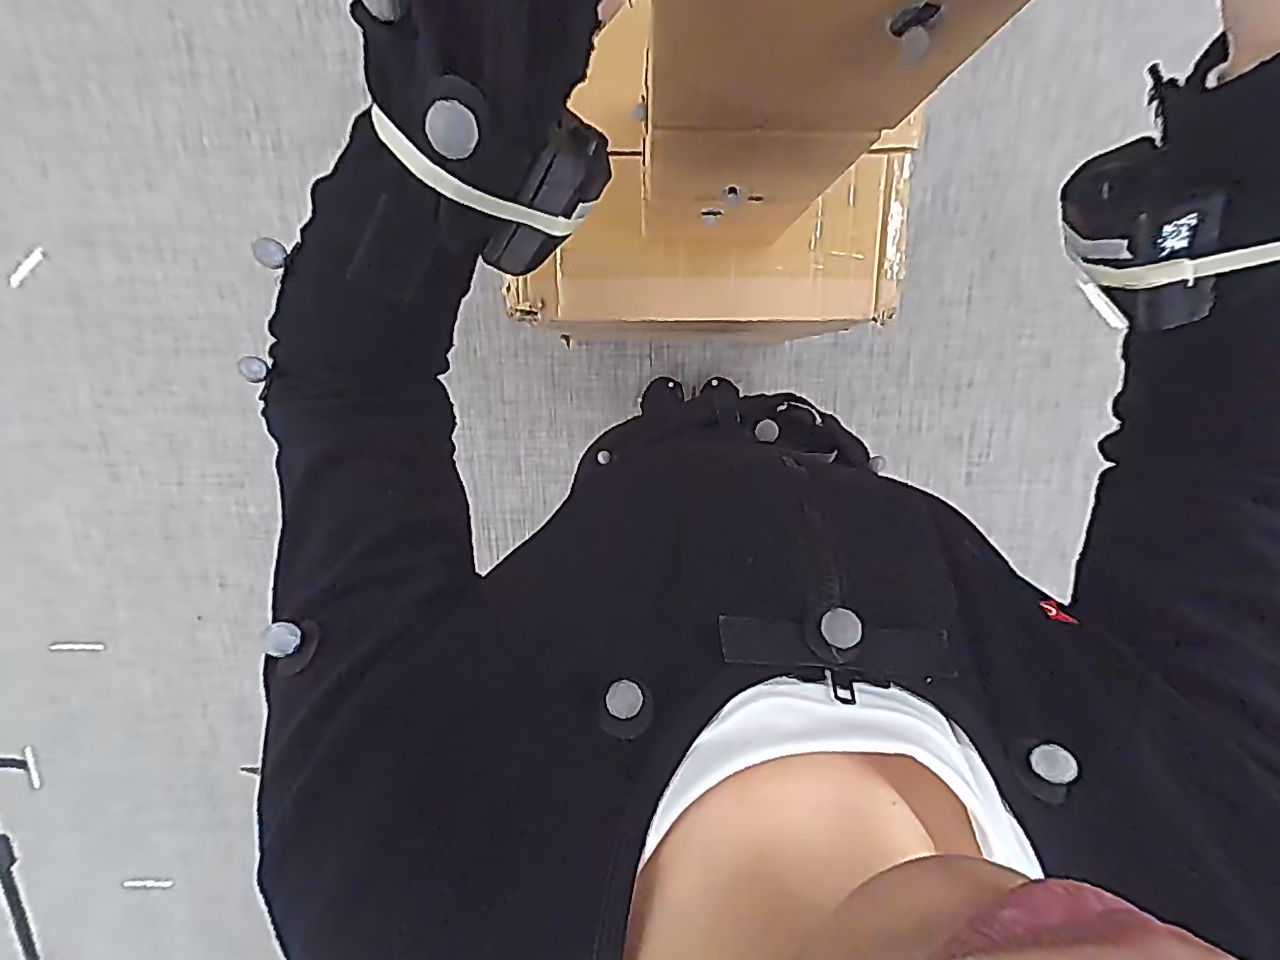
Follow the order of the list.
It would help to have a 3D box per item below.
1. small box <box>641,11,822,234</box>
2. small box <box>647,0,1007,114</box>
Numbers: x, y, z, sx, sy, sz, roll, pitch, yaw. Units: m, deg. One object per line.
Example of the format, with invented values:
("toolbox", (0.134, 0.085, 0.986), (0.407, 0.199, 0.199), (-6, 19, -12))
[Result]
("small box", (0.092, -0.382, 0.602), (0.179, 0.176, 0.168), (2, 102, 0))
("small box", (0.094, -0.317, 0.279), (0.179, 0.176, 0.168), (1, 102, 1))
